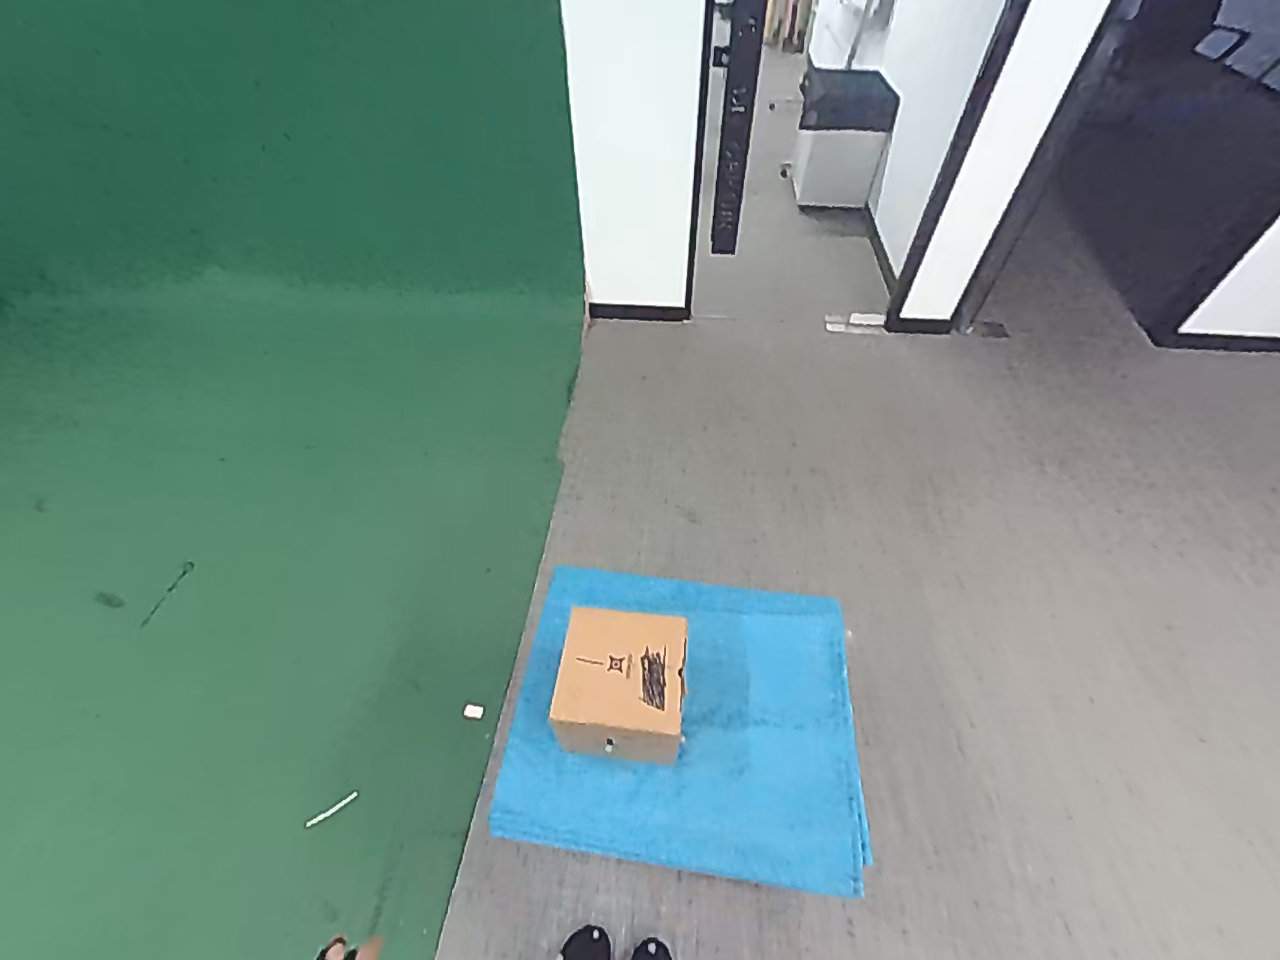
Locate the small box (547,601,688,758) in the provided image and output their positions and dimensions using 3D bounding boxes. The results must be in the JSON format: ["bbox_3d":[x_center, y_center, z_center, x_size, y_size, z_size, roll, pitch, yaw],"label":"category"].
[{"bbox_3d":[-0.025,0.302,0.809,0.179,0.176,0.168,5,50,5],"label":"small box"}]
